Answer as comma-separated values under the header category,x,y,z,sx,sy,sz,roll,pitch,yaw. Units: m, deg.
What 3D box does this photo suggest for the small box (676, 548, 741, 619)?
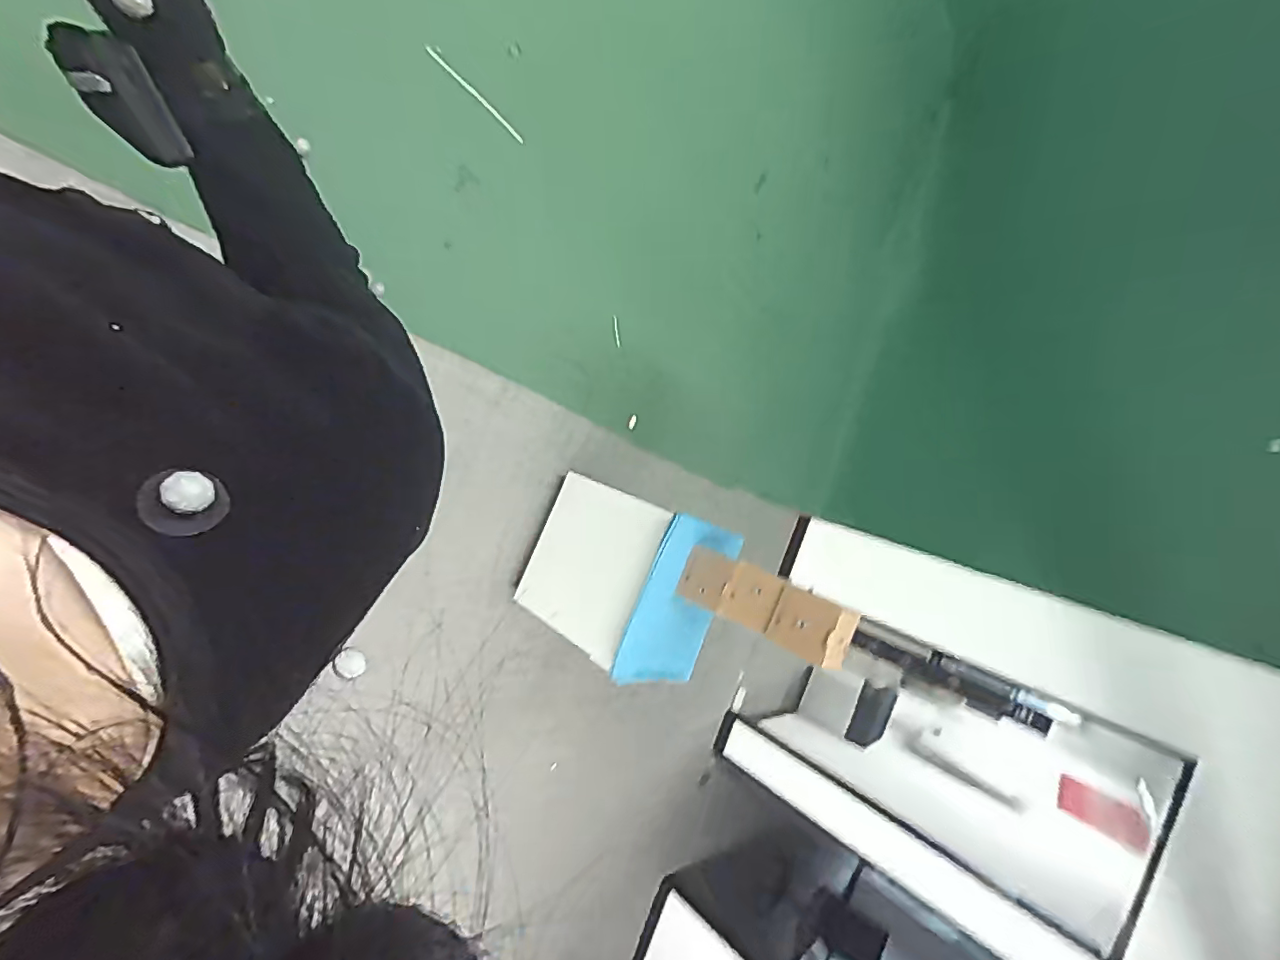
category,x,y,z,sx,sy,sz,roll,pitch,yaw
small box,0.240,0.325,1.693,0.179,0.176,0.168,26,87,-50

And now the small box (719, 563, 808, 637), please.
category,x,y,z,sx,sy,sz,roll,pitch,yaw
small box,0.360,0.357,1.589,0.179,0.176,0.168,28,85,-51

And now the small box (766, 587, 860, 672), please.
category,x,y,z,sx,sy,sz,roll,pitch,yaw
small box,0.469,0.405,1.475,0.179,0.176,0.168,28,85,-50
